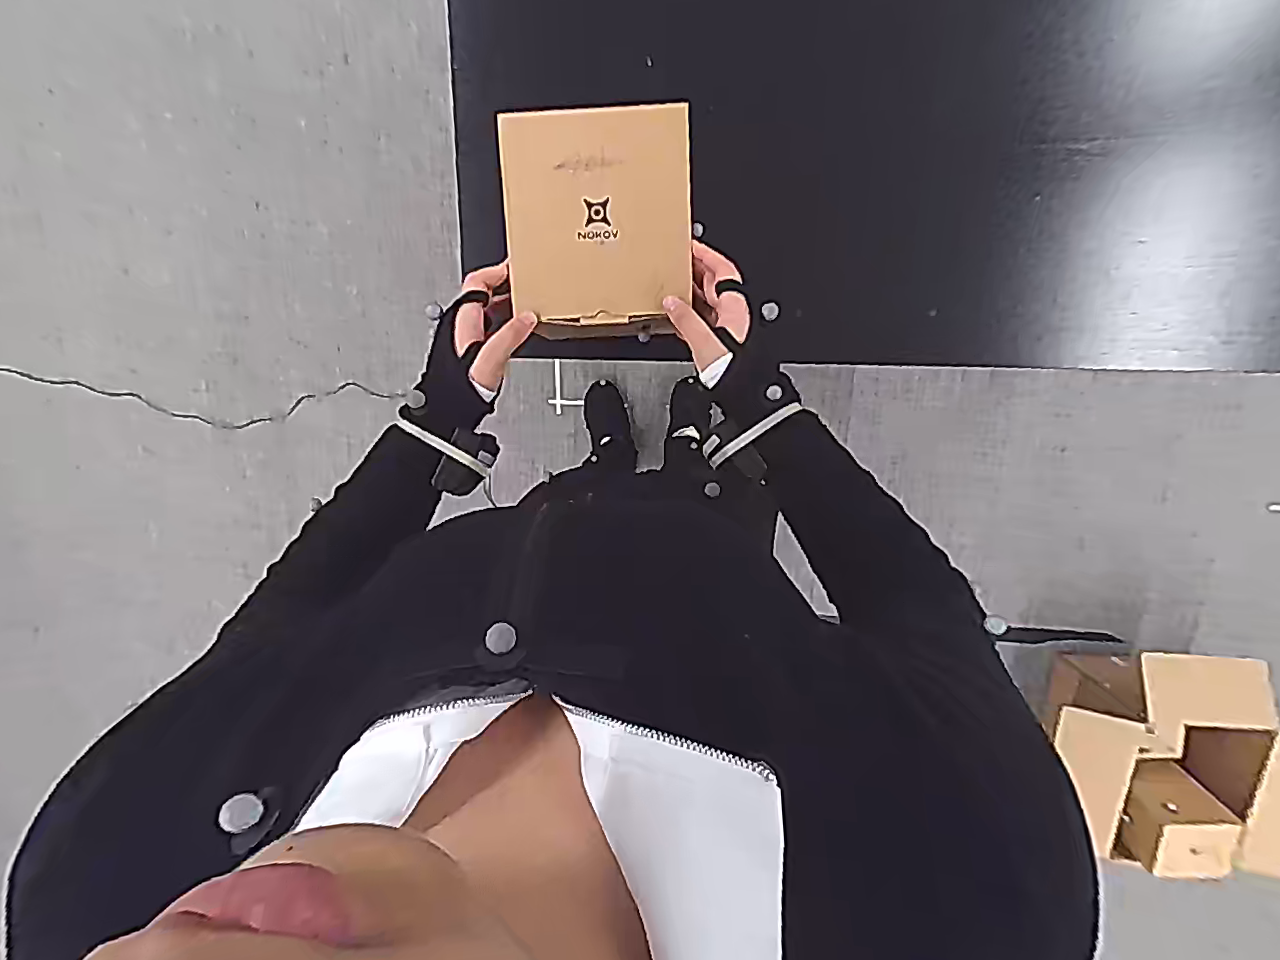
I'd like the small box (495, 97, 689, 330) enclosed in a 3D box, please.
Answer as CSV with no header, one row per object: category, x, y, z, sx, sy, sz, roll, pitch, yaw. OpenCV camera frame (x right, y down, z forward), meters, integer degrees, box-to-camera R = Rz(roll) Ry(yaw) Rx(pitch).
small box,-0.038,-0.250,0.552,0.168,0.176,0.179,-3,100,1

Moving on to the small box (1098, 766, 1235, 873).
small box,1.320,0.855,1.373,0.179,0.176,0.168,-4,107,4
